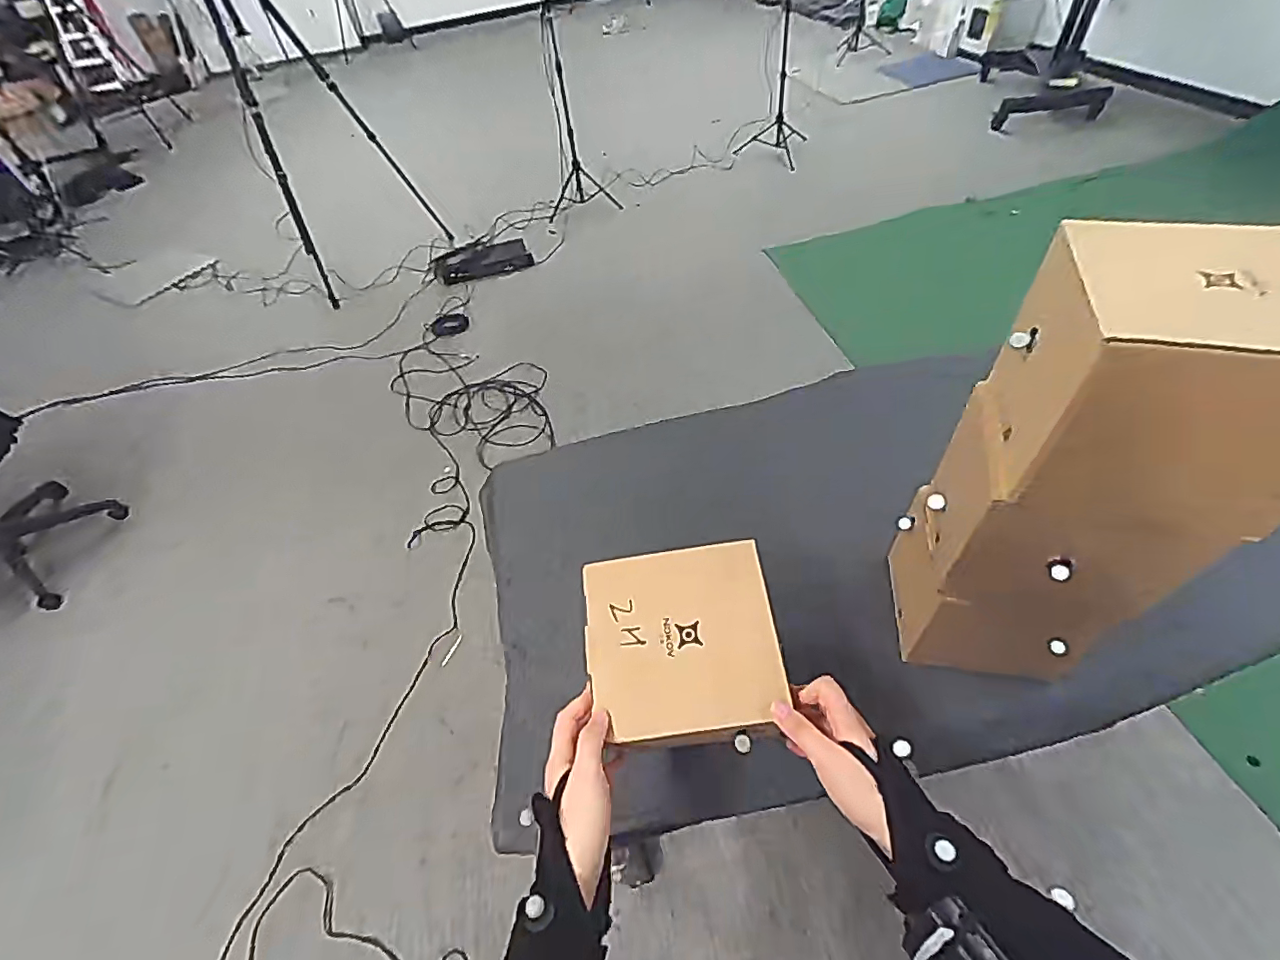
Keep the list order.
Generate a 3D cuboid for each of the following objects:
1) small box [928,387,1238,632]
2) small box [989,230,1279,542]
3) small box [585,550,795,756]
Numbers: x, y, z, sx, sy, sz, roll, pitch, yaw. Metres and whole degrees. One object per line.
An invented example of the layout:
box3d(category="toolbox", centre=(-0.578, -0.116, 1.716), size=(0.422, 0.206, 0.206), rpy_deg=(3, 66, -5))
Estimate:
box3d(category="small box", centre=(0.410, 0.032, 0.543), size=(0.179, 0.176, 0.168), rpy_deg=(10, 51, 17))
box3d(category="small box", centre=(0.395, -0.072, 0.419), size=(0.179, 0.176, 0.168), rpy_deg=(10, 51, 16))
box3d(category="small box", centre=(0.048, 0.188, 0.568), size=(0.179, 0.176, 0.168), rpy_deg=(-9, 60, 4))
